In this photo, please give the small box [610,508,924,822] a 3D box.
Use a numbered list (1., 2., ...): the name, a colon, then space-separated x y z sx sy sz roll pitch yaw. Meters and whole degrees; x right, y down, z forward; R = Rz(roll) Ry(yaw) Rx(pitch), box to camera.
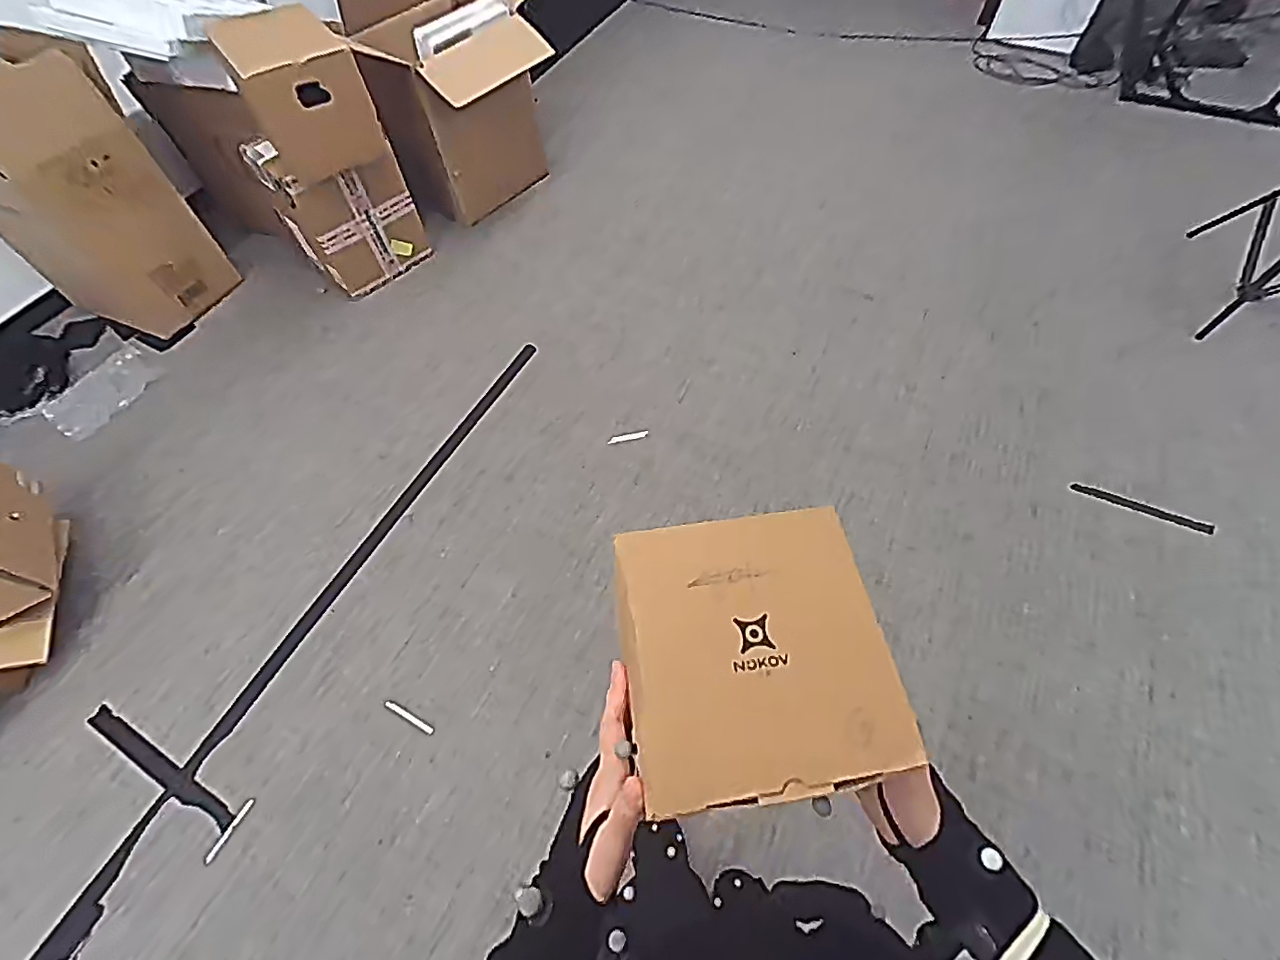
1. small box: 0.070 0.145 0.412 0.168 0.176 0.179 -7 58 -7
